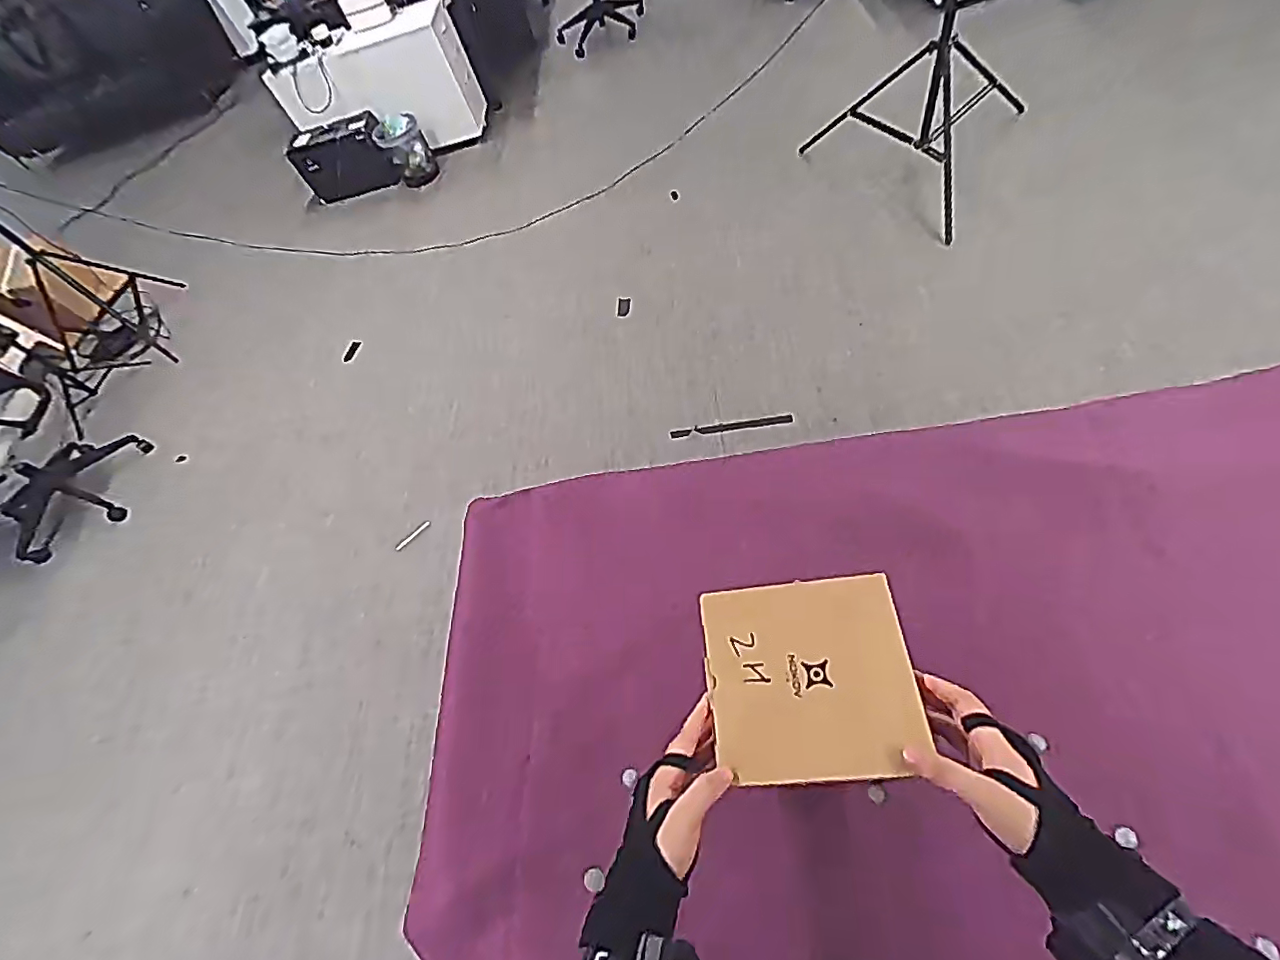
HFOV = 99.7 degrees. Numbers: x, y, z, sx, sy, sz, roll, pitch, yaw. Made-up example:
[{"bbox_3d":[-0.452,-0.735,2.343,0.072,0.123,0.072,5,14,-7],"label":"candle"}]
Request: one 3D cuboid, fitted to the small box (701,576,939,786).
[{"bbox_3d":[0.163,0.207,0.539,0.179,0.176,0.168,-9,59,10],"label":"small box"}]
